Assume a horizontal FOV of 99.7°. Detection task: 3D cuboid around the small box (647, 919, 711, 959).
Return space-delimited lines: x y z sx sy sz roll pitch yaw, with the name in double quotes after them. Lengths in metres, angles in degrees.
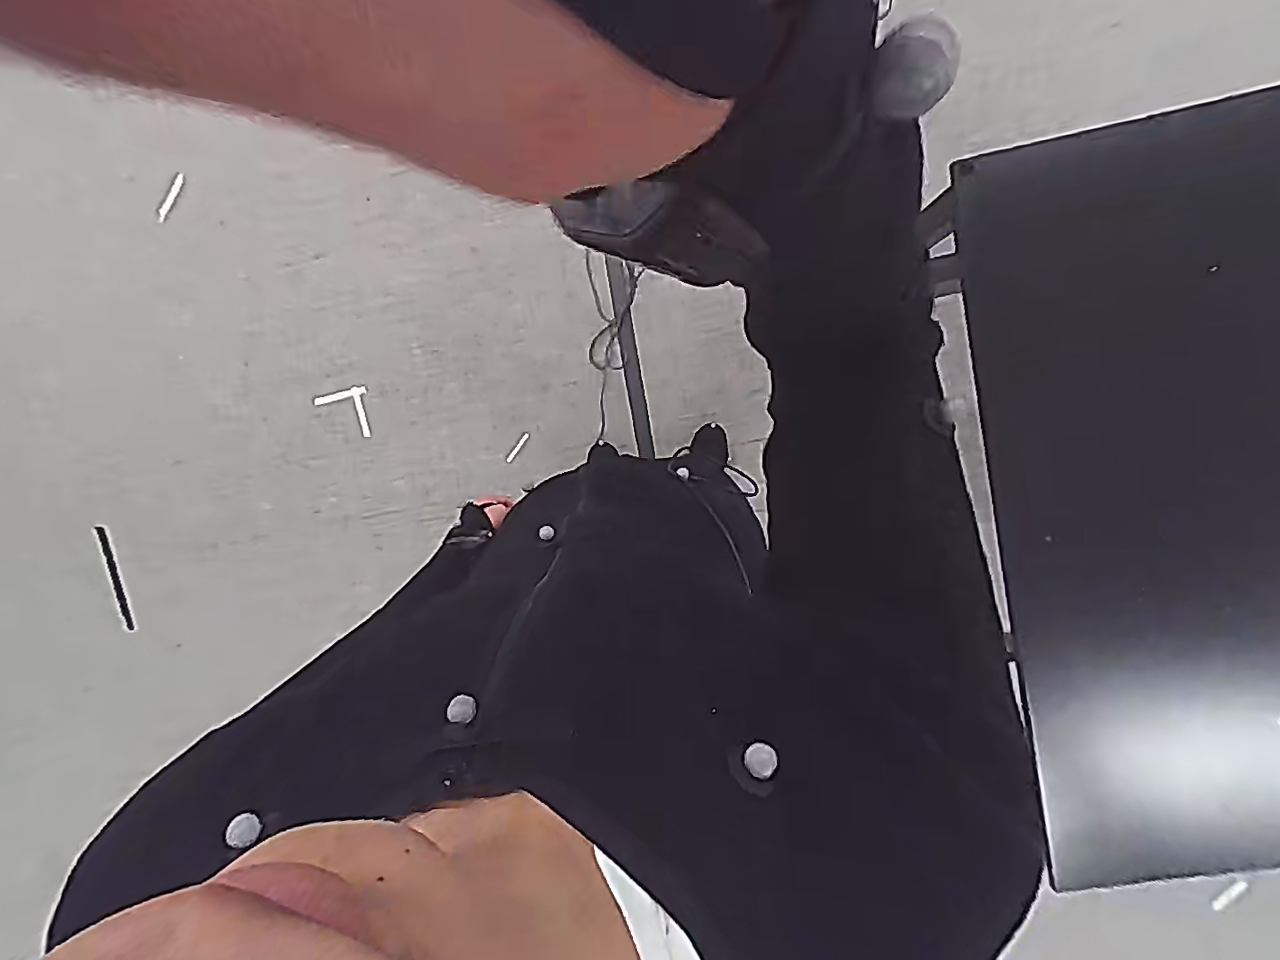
0.113 1.375 1.501 0.168 0.176 0.179 -9 96 5 "small box"
